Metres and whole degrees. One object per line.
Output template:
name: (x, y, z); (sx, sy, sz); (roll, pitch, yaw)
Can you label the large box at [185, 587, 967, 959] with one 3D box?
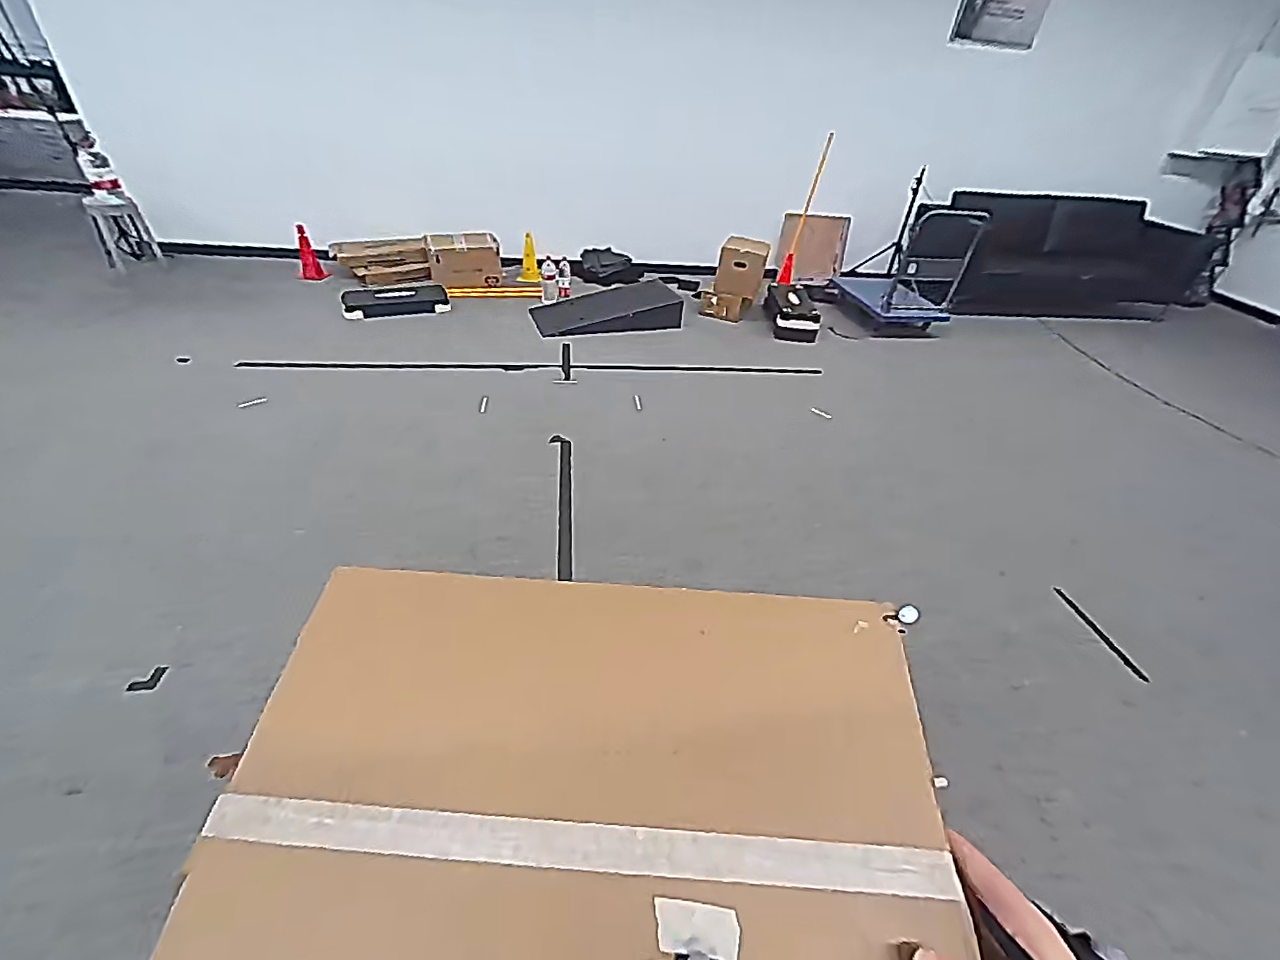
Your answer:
large box: (-0.031, 0.300, 0.419); (0.408, 0.320, 0.320); (3, 53, 2)
